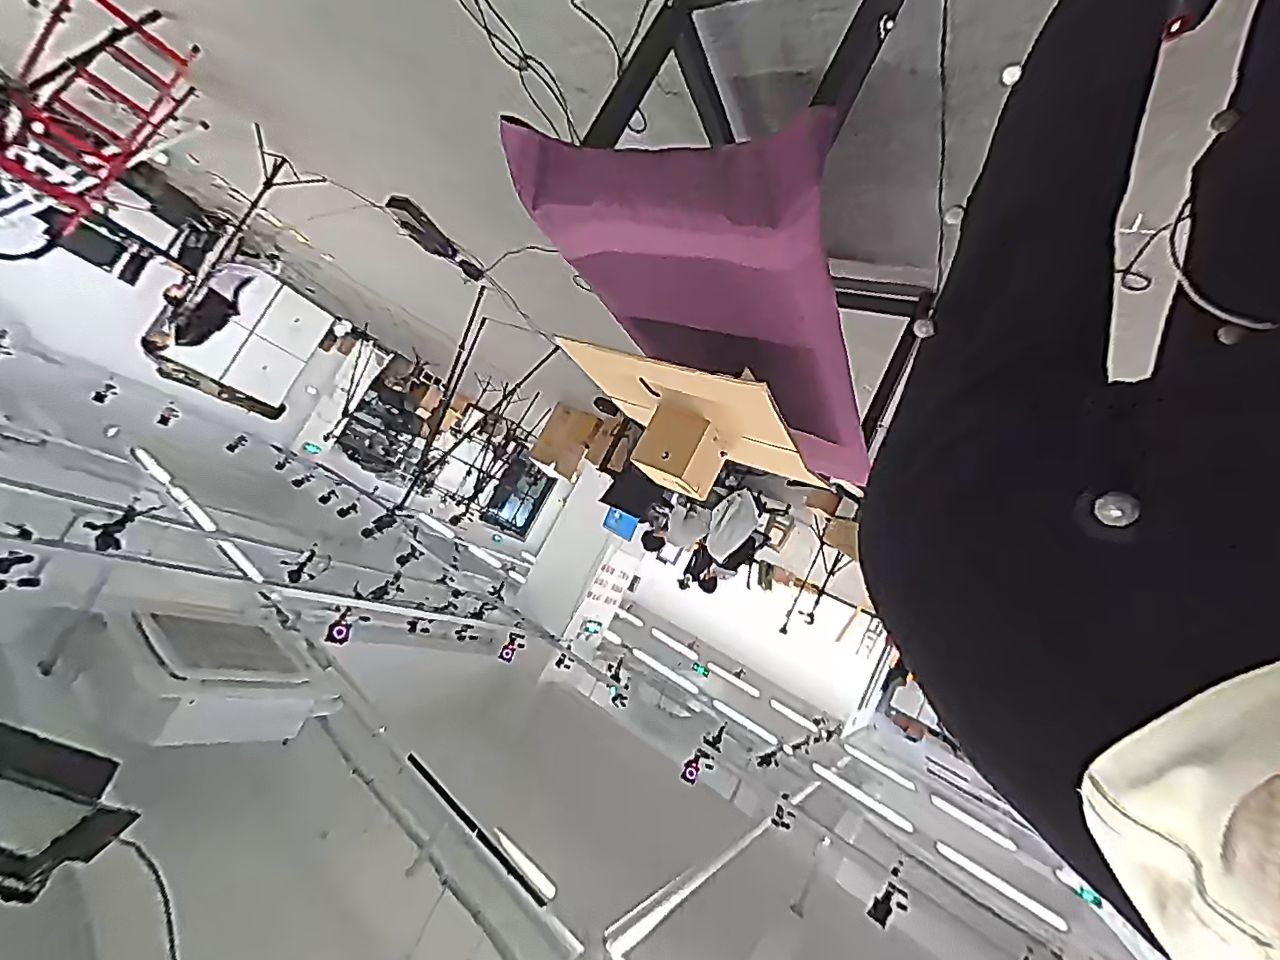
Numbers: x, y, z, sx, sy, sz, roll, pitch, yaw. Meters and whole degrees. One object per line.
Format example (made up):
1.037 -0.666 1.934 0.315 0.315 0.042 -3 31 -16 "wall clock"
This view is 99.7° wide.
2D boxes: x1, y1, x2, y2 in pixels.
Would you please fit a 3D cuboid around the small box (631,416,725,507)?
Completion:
0.112 -0.054 1.461 0.179 0.176 0.168 22 169 35 "small box"
